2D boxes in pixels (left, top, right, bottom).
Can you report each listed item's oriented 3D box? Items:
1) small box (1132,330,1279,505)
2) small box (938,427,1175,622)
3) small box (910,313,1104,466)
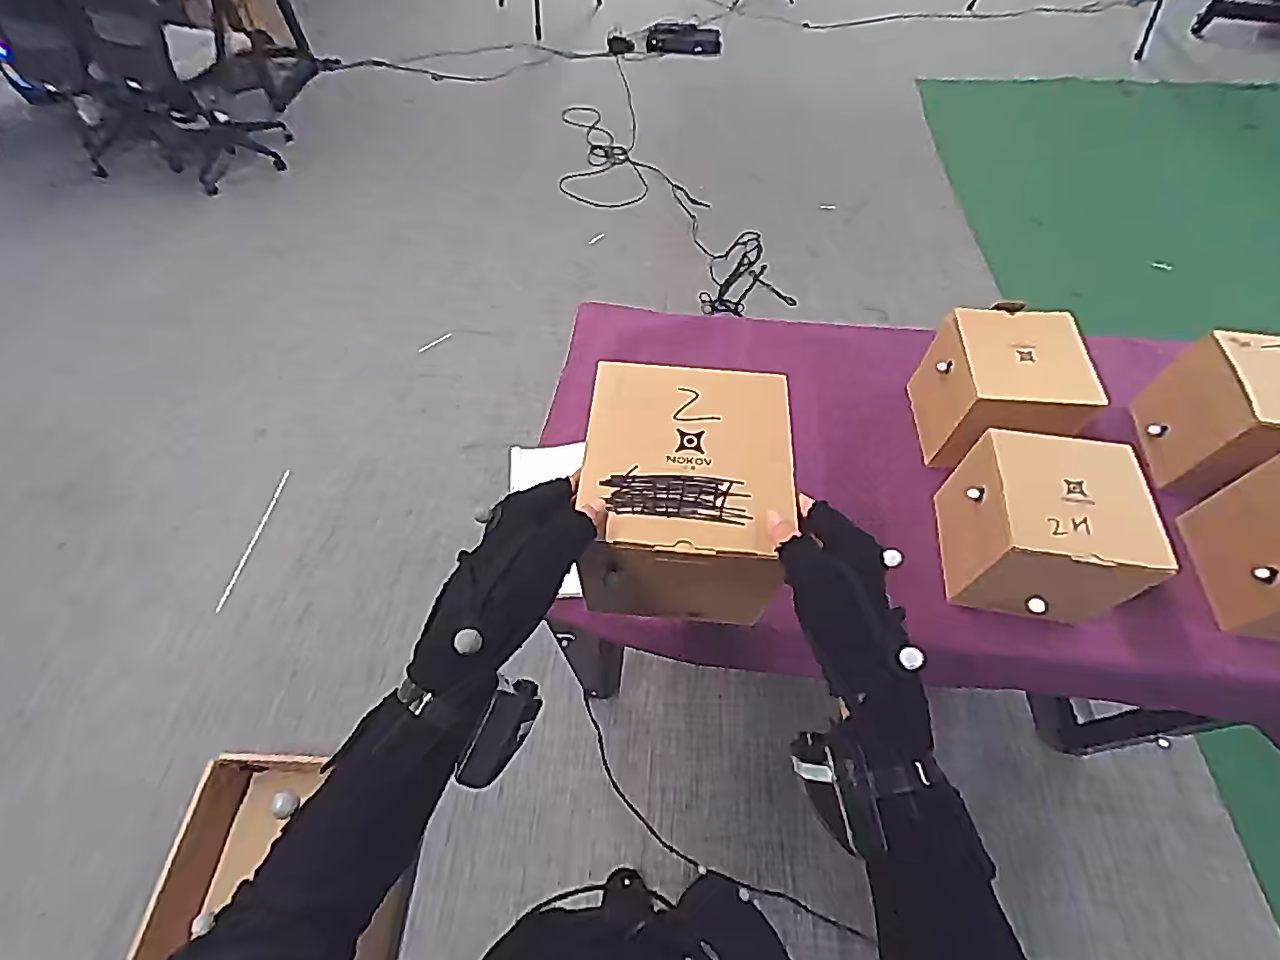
[{"bbox_3d":[0.870,-0.085,0.776,0.168,0.176,0.179,10,58,8],"label":"small box"},{"bbox_3d":[0.506,0.060,0.694,0.168,0.176,0.179,8,57,8],"label":"small box"},{"bbox_3d":[0.535,-0.128,0.821,0.168,0.176,0.179,4,57,5],"label":"small box"}]
